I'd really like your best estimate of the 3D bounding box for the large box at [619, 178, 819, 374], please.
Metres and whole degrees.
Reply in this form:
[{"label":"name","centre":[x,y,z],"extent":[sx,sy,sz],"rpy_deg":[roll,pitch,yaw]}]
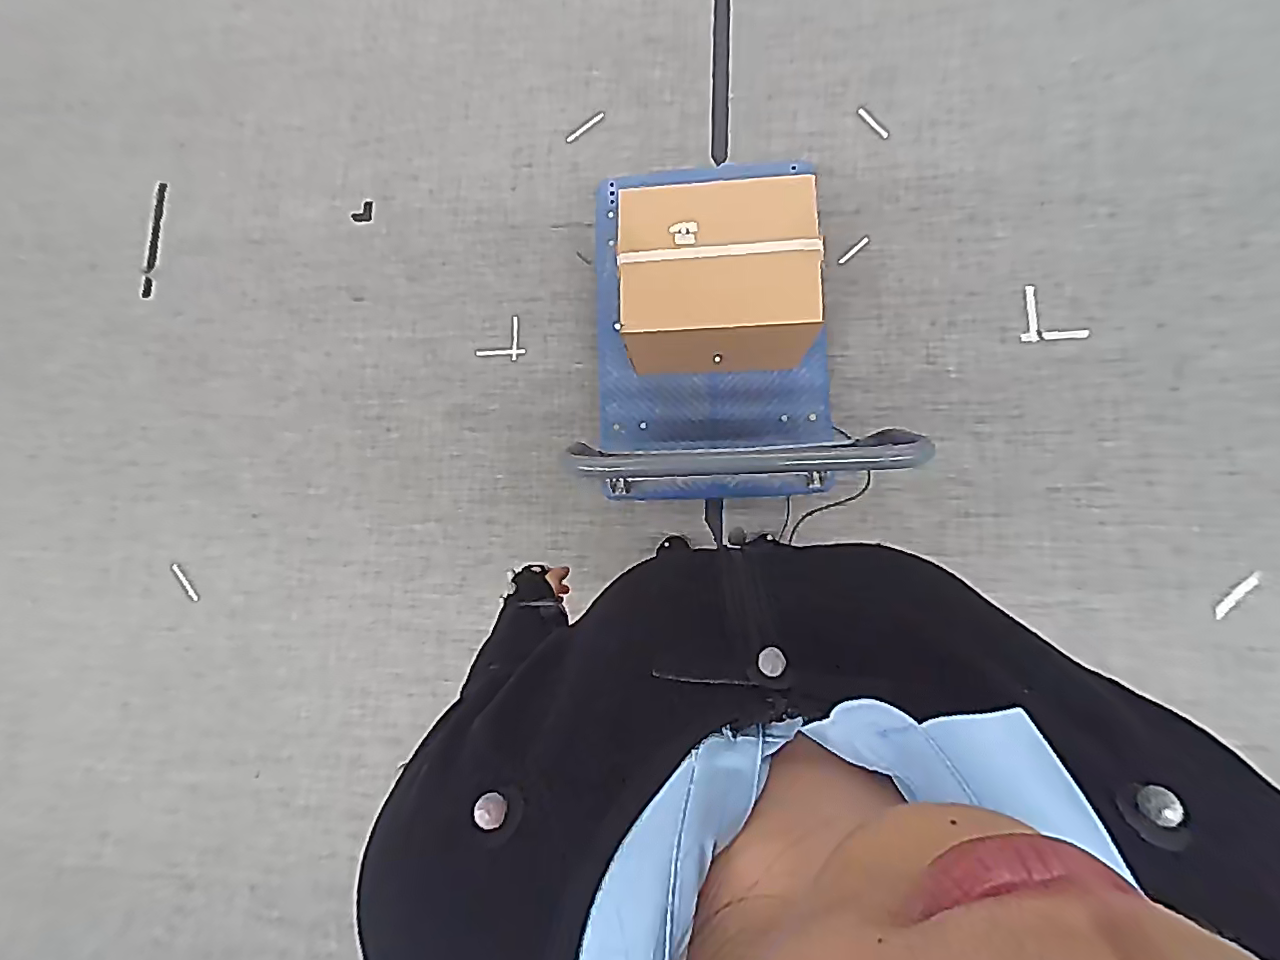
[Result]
[{"label":"large box","centre":[0.175,-0.448,1.265],"extent":[0.408,0.320,0.320],"rpy_deg":[-2,83,7]}]
